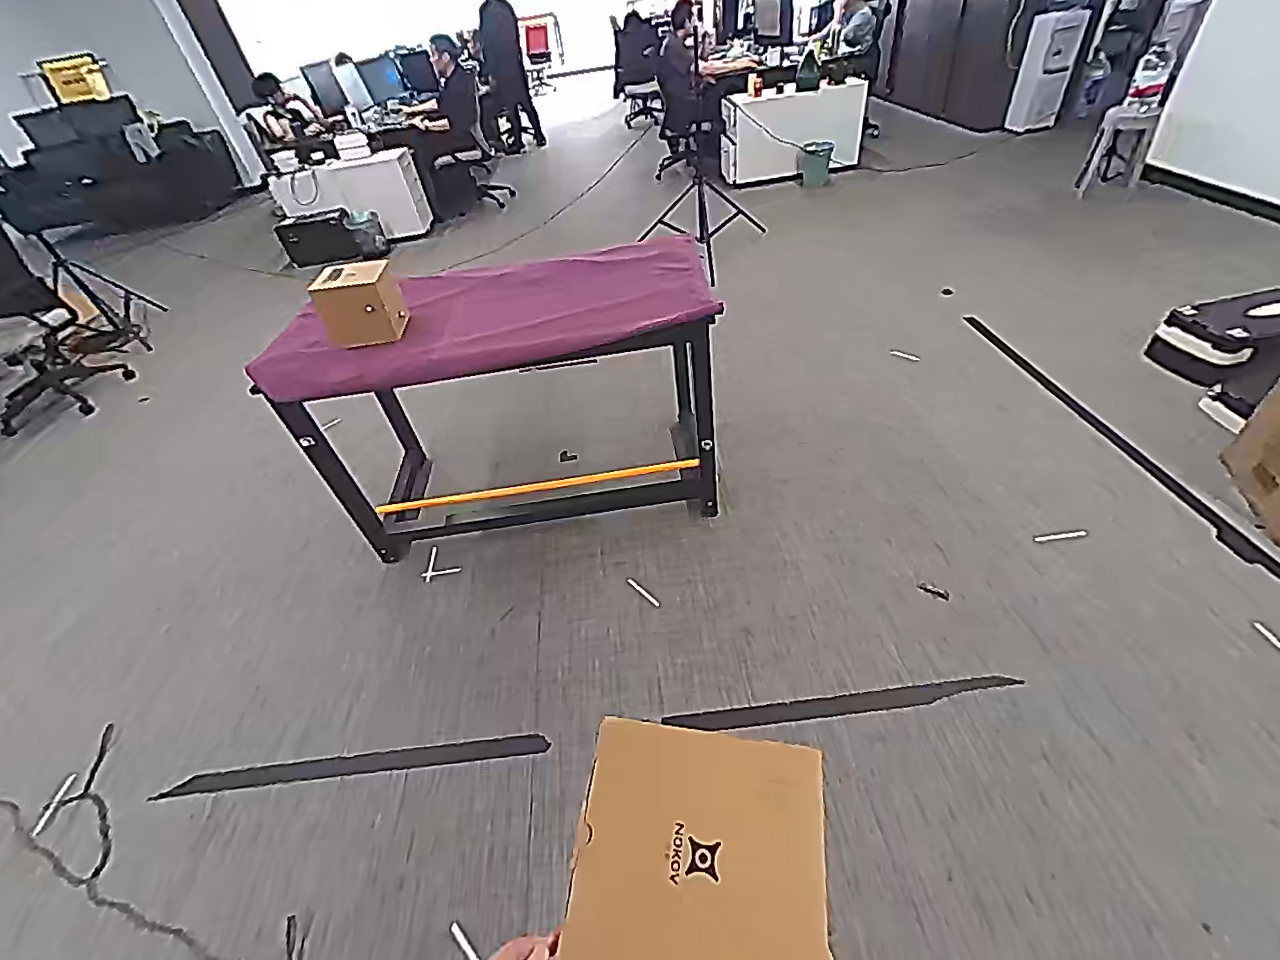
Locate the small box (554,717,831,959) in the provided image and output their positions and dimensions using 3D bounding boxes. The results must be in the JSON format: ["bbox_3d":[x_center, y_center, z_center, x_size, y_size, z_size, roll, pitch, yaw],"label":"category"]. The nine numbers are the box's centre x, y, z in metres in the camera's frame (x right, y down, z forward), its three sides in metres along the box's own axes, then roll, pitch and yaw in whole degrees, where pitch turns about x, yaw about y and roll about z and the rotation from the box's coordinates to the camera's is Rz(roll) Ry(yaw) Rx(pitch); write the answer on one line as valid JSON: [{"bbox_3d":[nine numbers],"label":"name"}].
[{"bbox_3d":[0.051,0.309,0.438,0.179,0.176,0.168,2,53,13],"label":"small box"}]
